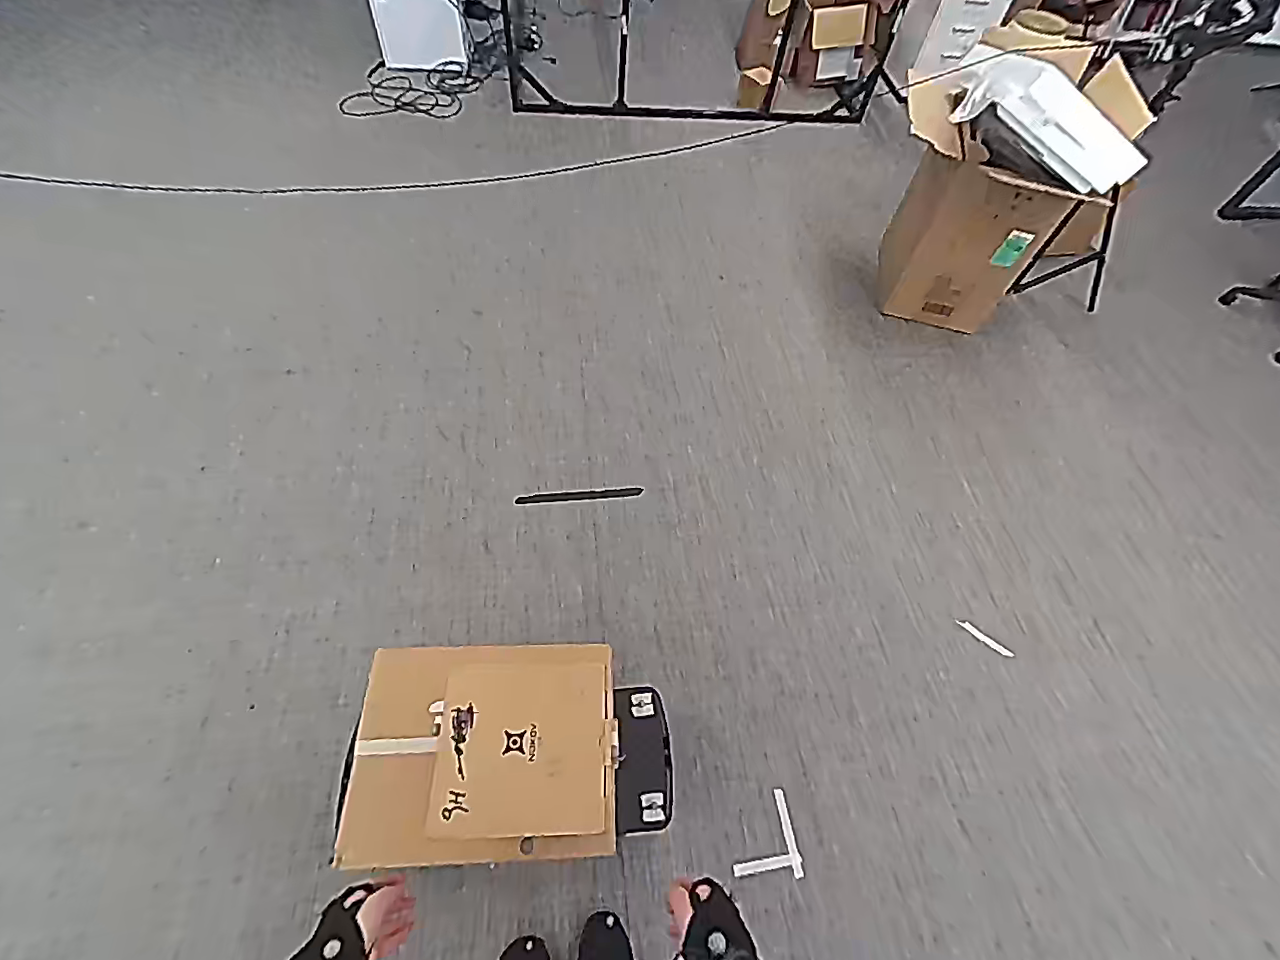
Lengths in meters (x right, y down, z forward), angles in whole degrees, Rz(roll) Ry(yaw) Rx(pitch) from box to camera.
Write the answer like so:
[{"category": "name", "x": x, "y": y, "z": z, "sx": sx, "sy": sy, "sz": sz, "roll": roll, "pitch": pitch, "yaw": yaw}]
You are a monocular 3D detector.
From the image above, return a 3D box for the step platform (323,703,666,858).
[{"category": "step platform", "x": -0.285, "y": 0.642, "z": 1.166, "sx": 0.684, "sy": 0.204, "sz": 0.286, "roll": 2, "pitch": 57, "yaw": -3}]

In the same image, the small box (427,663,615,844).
[{"category": "small box", "x": -0.123, "y": 0.315, "z": 0.620, "sx": 0.179, "sy": 0.176, "sz": 0.168, "roll": 2, "pitch": 57, "yaw": -5}]

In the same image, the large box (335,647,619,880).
[{"category": "large box", "x": -0.247, "y": 0.504, "z": 0.974, "sx": 0.408, "sy": 0.320, "sz": 0.320, "roll": 0, "pitch": 57, "yaw": -5}]
